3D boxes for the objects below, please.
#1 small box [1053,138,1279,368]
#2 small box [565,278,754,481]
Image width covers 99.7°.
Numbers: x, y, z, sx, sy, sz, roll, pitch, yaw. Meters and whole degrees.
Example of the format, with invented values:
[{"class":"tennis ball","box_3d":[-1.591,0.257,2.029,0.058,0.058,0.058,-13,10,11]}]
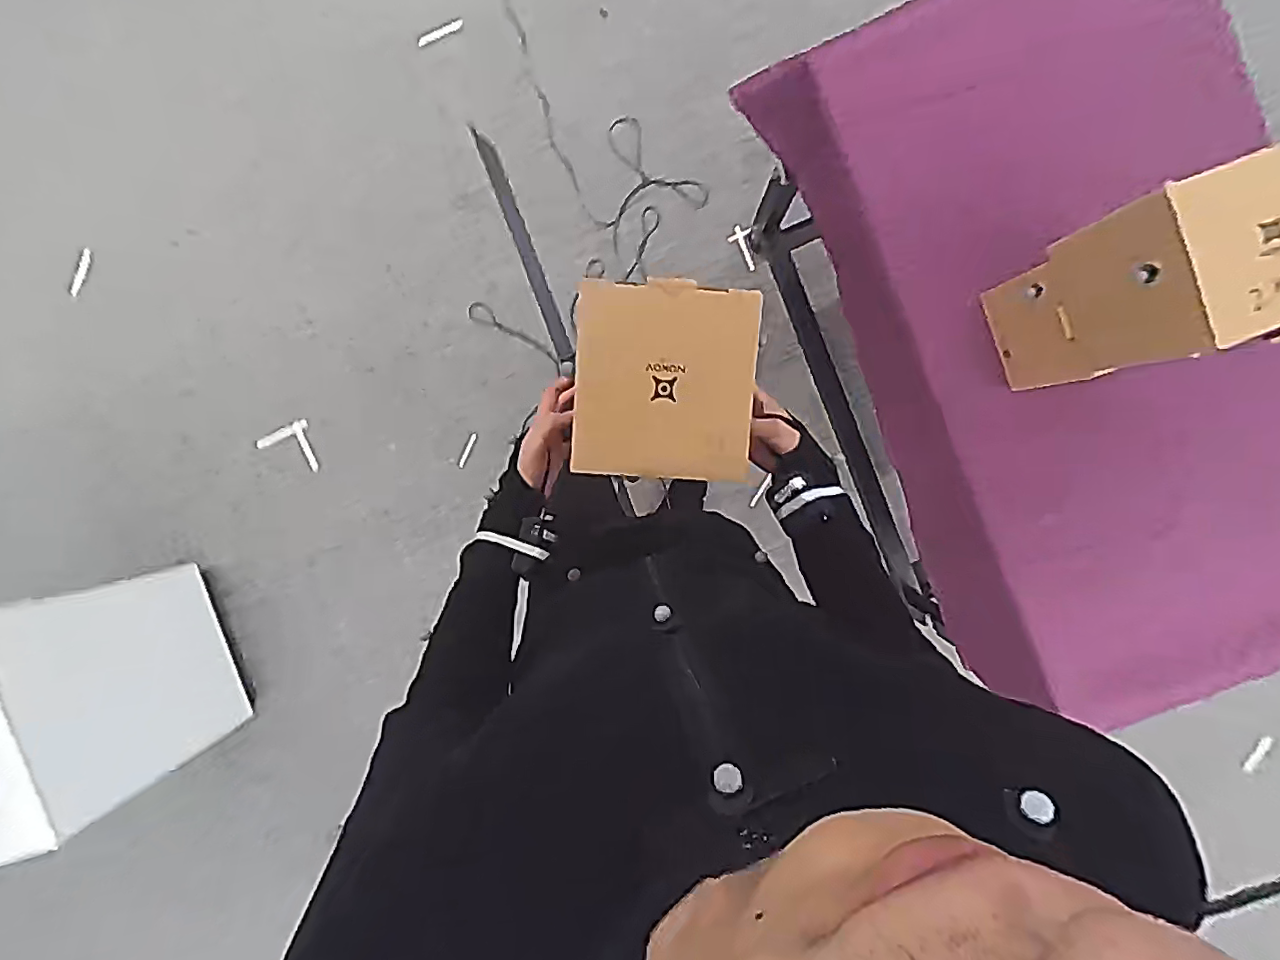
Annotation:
[{"class":"small box","box_3d":[0.625,-0.246,0.617,0.168,0.176,0.179,-20,92,3]},{"class":"small box","box_3d":[0.015,-0.099,0.570,0.168,0.176,0.179,2,96,-2]}]
